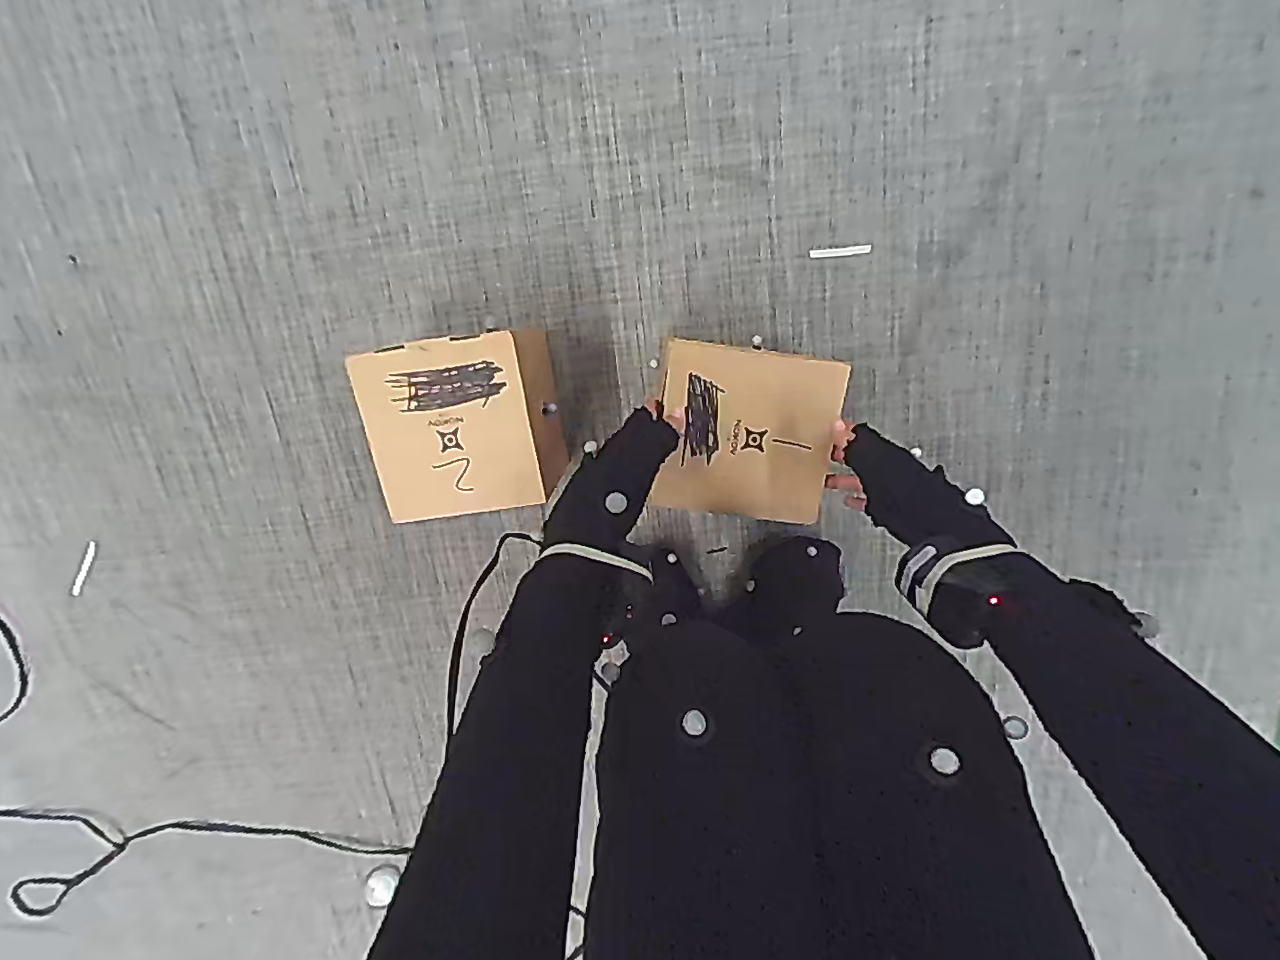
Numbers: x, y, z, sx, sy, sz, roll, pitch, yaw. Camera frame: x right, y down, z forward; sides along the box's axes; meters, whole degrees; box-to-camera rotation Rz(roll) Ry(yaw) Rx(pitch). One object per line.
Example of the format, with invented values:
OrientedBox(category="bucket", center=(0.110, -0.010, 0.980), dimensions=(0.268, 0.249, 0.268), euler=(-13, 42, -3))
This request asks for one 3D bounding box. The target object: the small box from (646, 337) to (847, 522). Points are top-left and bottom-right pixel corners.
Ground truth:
OrientedBox(category="small box", center=(0.103, -0.066, 0.611), dimensions=(0.179, 0.176, 0.168), euler=(7, 106, -2))
